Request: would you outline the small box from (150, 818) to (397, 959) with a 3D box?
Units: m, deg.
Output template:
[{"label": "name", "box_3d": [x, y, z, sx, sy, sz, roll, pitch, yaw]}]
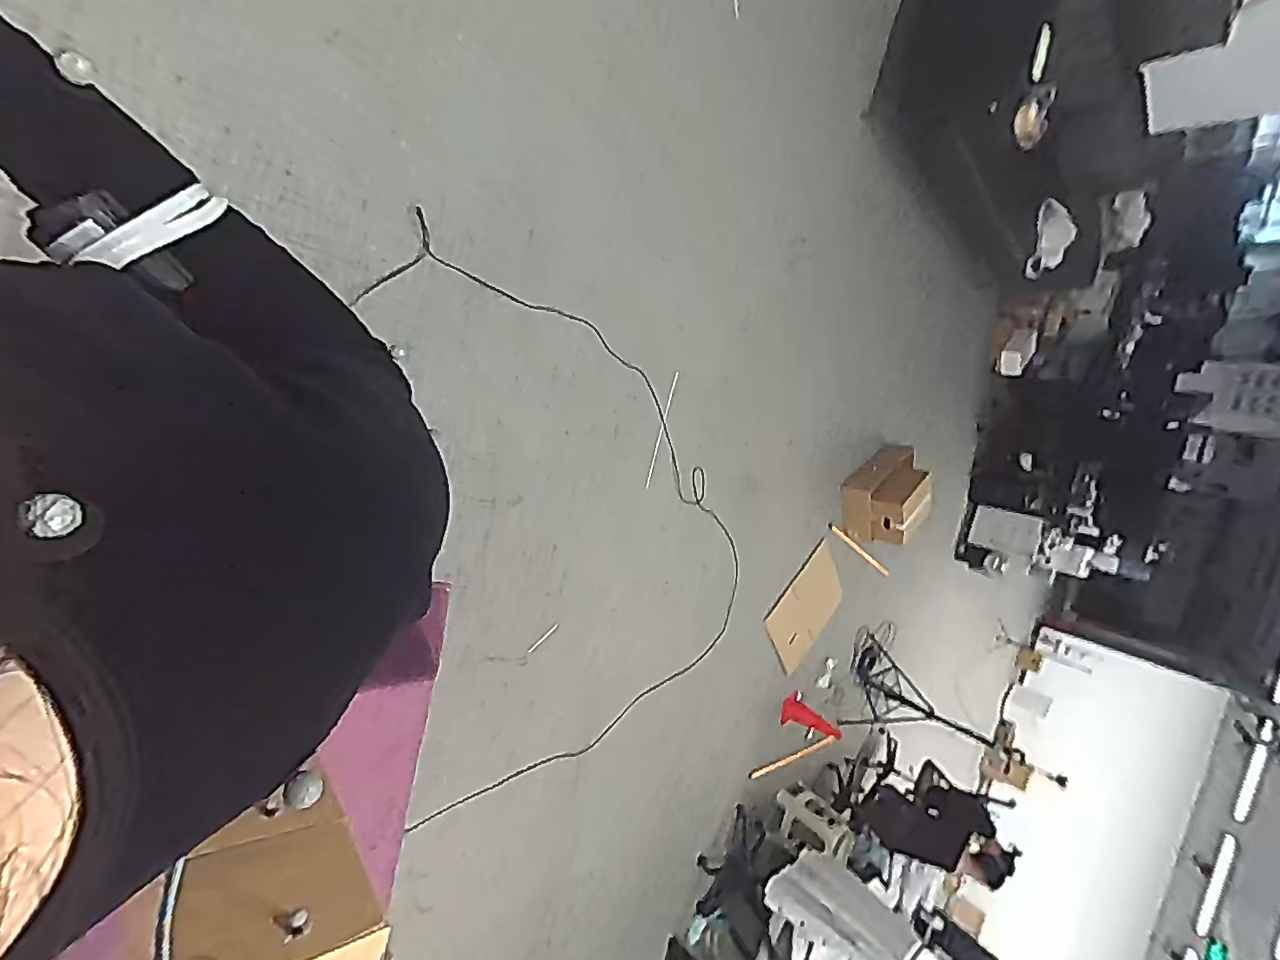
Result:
[{"label": "small box", "box_3d": [-0.384, 0.493, 0.553, 0.179, 0.176, 0.168, 12, 95, -46]}]

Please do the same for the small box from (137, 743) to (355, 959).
[{"label": "small box", "box_3d": [-0.490, 0.456, 0.671, 0.179, 0.176, 0.168, 13, 94, -45]}]
